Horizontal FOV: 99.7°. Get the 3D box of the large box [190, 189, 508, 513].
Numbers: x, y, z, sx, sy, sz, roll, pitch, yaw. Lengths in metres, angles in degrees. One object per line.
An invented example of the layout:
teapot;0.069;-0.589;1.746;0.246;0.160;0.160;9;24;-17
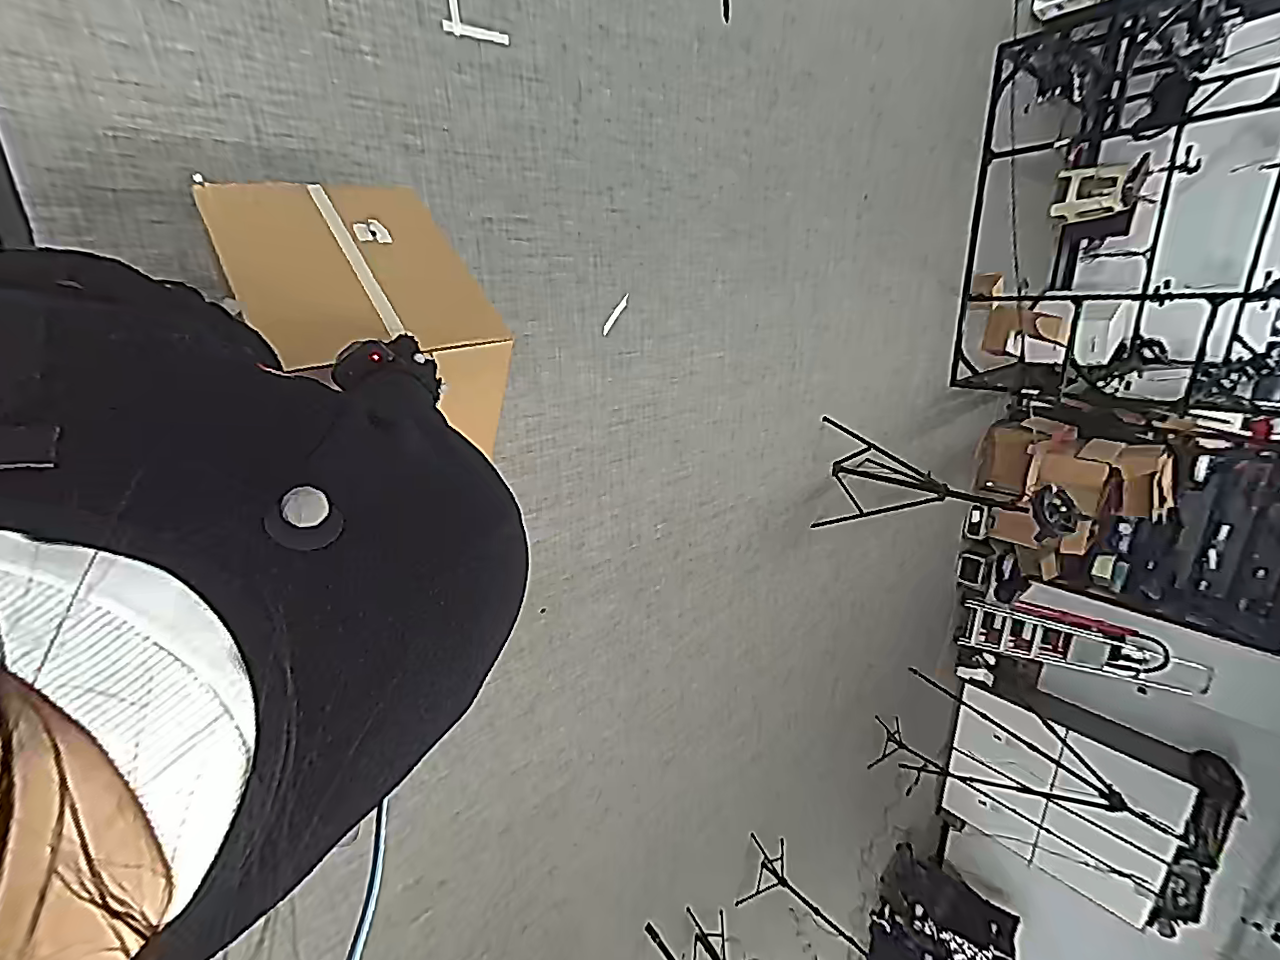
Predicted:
large box;-0.467;-0.221;0.901;0.320;0.408;0.320;-20;152;-36
